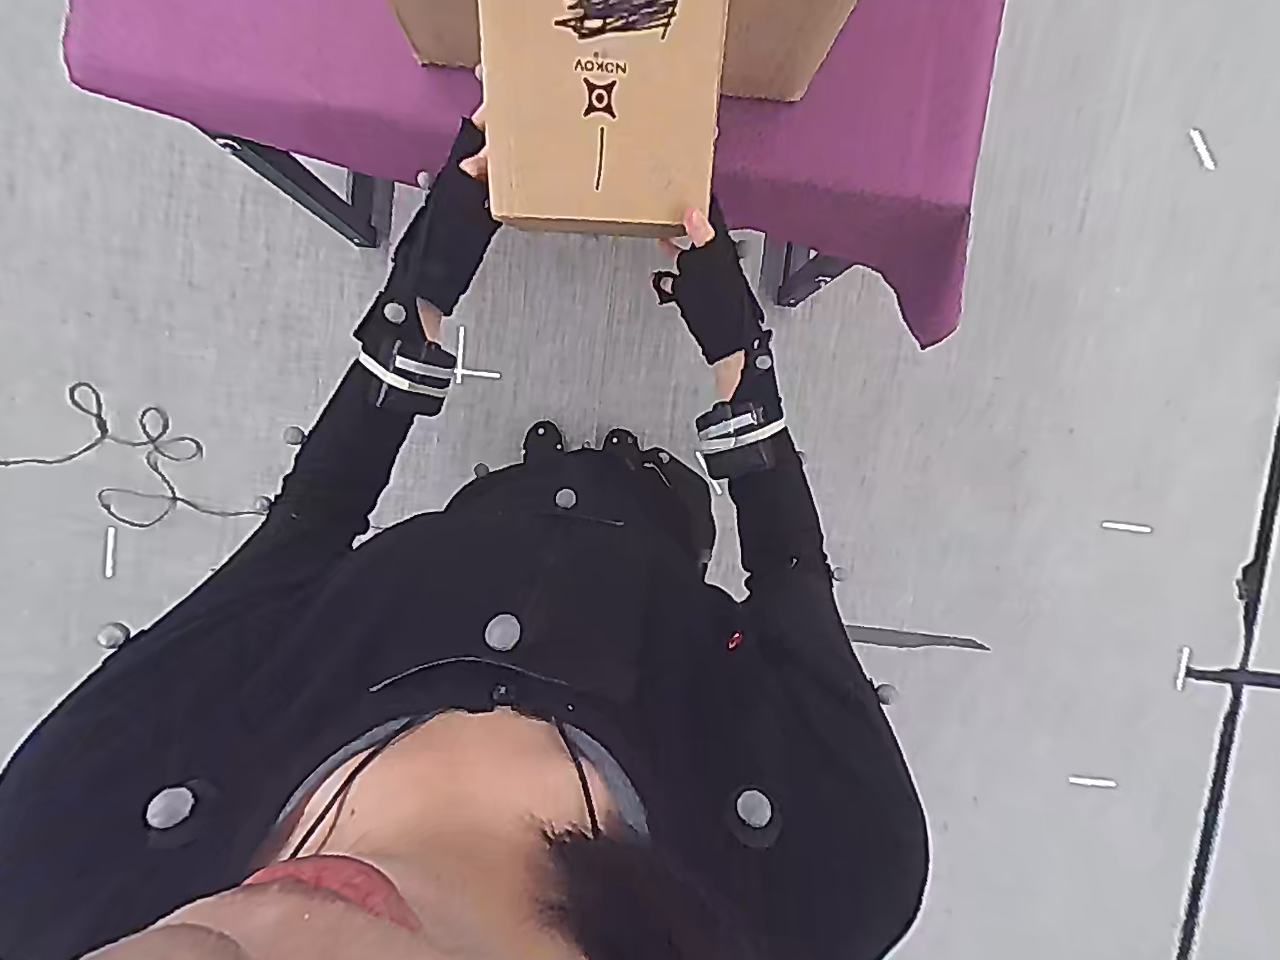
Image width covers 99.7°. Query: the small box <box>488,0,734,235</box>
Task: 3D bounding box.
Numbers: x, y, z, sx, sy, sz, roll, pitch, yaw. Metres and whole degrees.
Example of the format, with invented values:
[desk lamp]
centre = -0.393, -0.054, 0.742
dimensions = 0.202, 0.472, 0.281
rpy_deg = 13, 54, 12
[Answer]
[small box]
centre = -0.028, -0.307, 0.445
dimensions = 0.168, 0.176, 0.179
rpy_deg = 1, 111, -5
